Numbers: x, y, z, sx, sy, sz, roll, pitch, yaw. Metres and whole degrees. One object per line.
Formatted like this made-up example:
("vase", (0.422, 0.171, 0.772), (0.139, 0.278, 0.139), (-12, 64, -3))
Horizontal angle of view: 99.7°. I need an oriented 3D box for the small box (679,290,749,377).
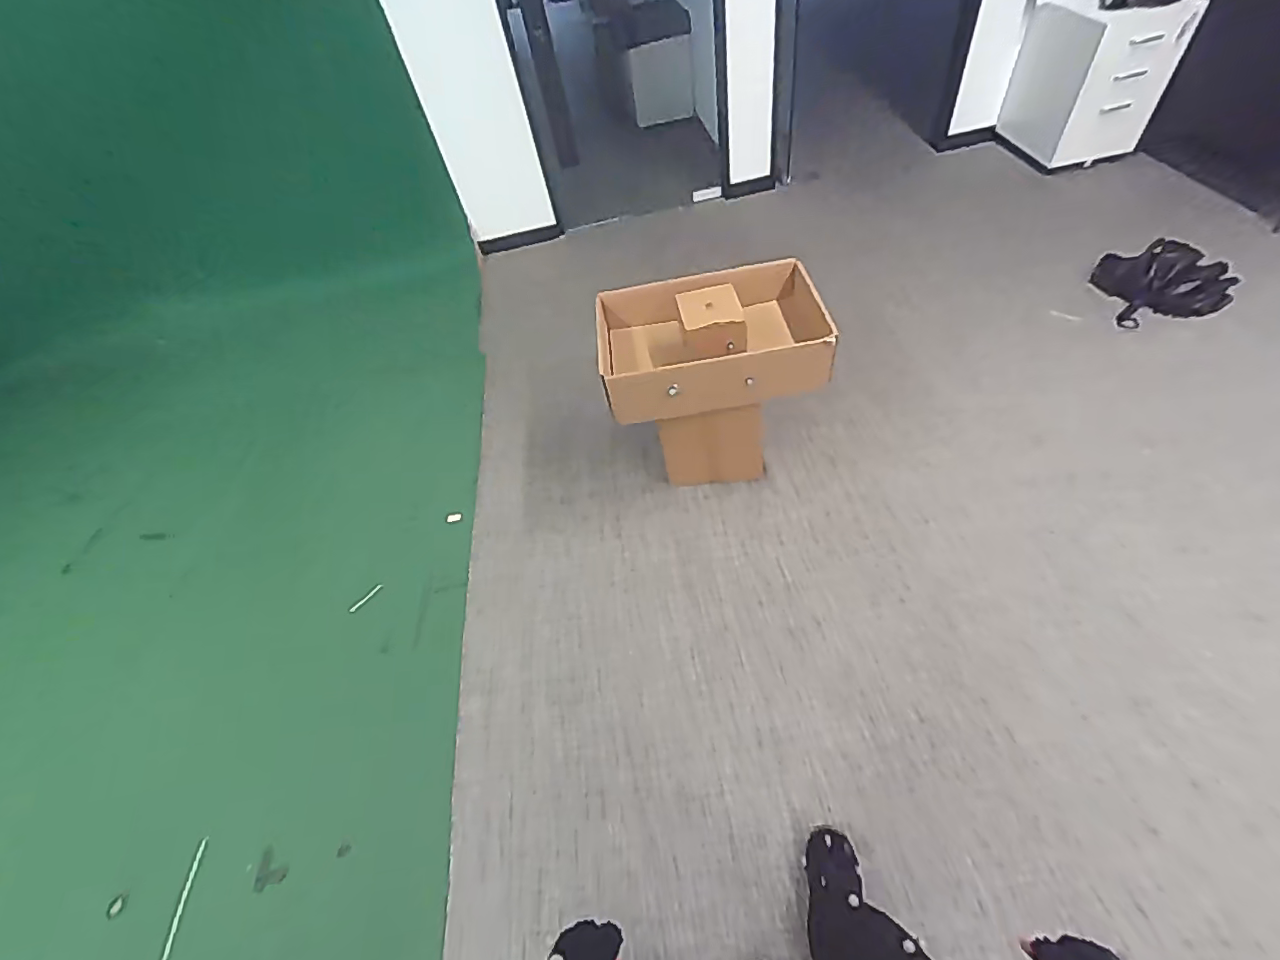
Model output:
("small box", (0.210, -0.409, 1.536), (0.168, 0.176, 0.179), (-10, 48, 1))
